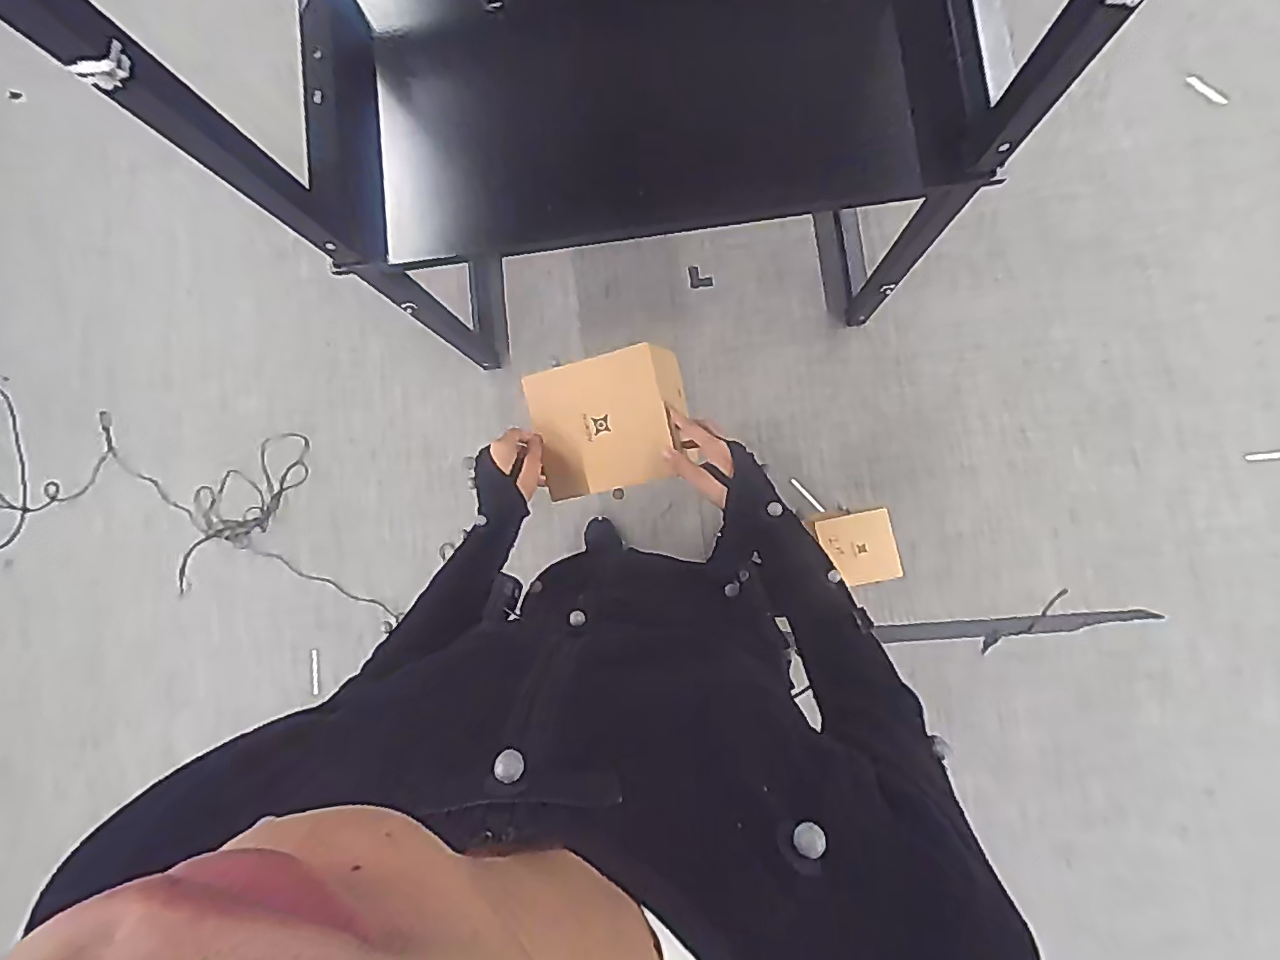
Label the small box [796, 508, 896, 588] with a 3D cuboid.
[{"bbox_3d":[0.509,0.164,1.355,0.179,0.176,0.168,-11,86,5],"label":"small box"}]

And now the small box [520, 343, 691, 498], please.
[{"bbox_3d":[-0.034,-0.082,0.740,0.179,0.176,0.168,-12,95,17],"label":"small box"}]
